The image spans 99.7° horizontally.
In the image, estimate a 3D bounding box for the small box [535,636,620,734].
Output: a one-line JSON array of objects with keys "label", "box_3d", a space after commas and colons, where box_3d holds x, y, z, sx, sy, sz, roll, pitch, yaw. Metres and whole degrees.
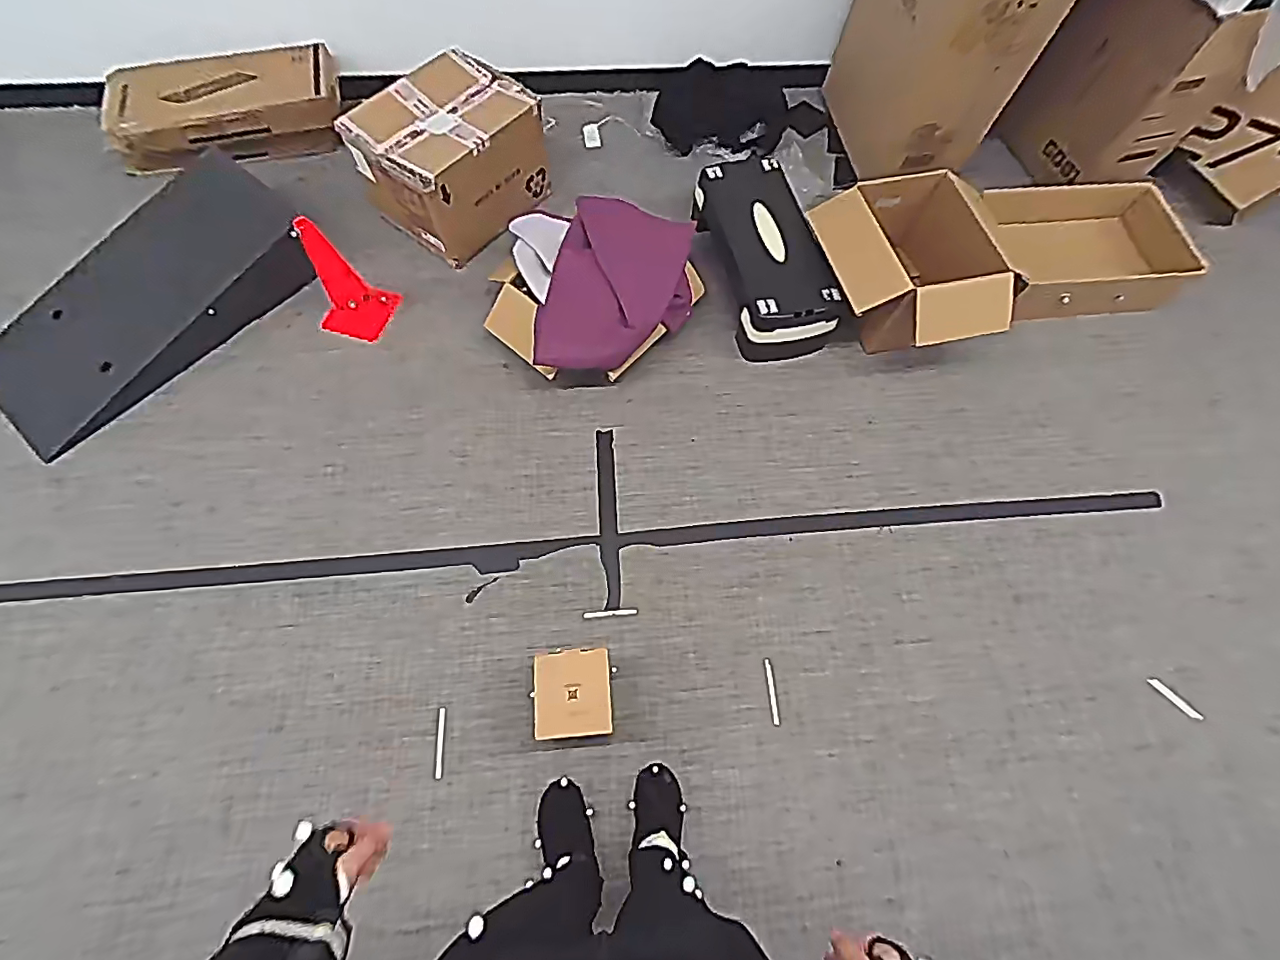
[{"label": "small box", "box_3d": [-0.132, 0.441, 1.166, 0.168, 0.176, 0.179, -5, 69, -3]}]
